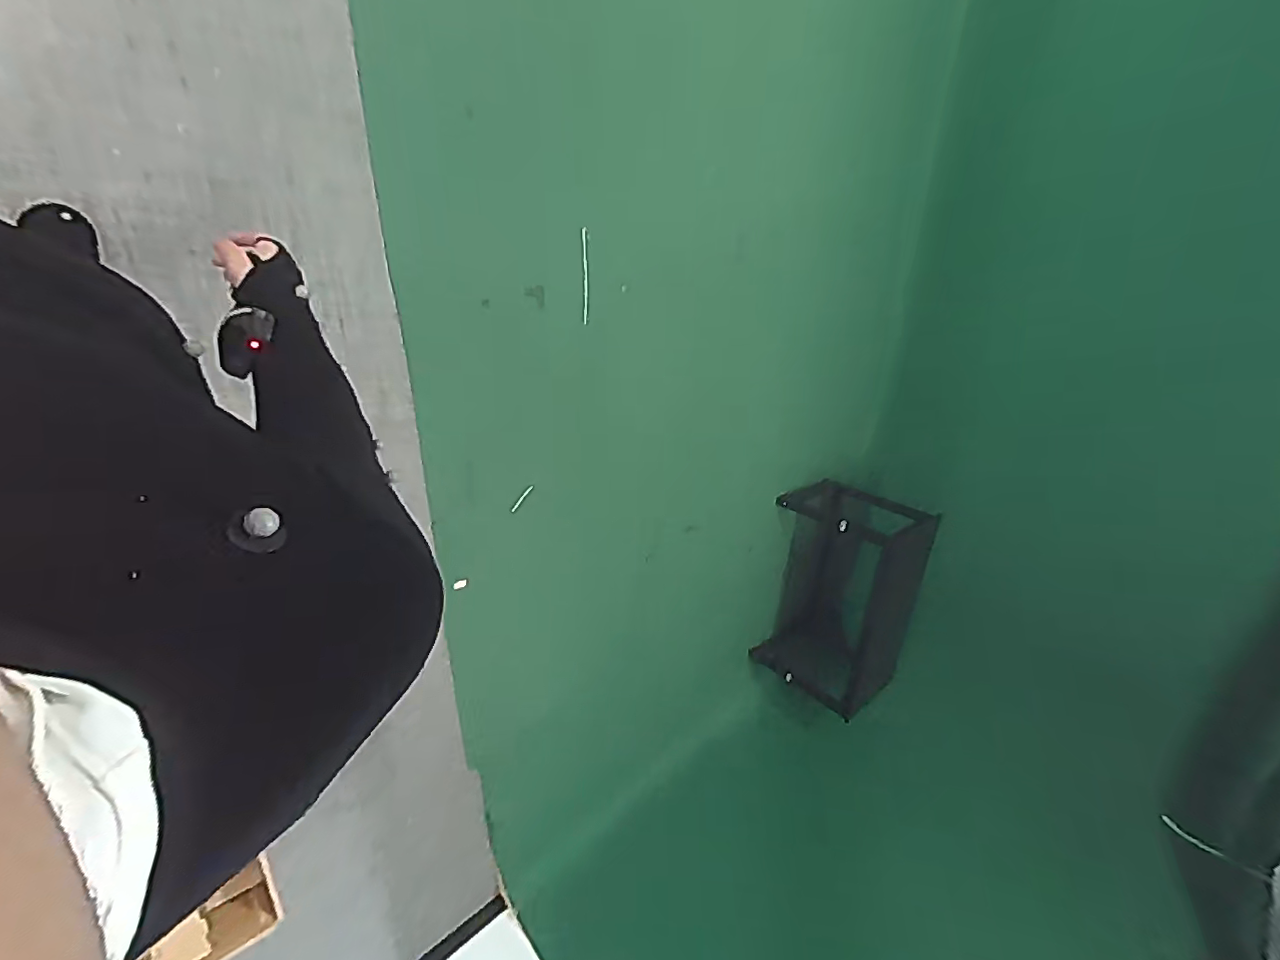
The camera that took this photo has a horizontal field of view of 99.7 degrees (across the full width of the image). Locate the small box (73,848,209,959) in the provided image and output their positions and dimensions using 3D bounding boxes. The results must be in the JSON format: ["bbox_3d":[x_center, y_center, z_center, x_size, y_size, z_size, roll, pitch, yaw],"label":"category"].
[{"bbox_3d":[-1.008,0.906,1.094,0.179,0.176,0.168,-14,117,-41],"label":"small box"}]
